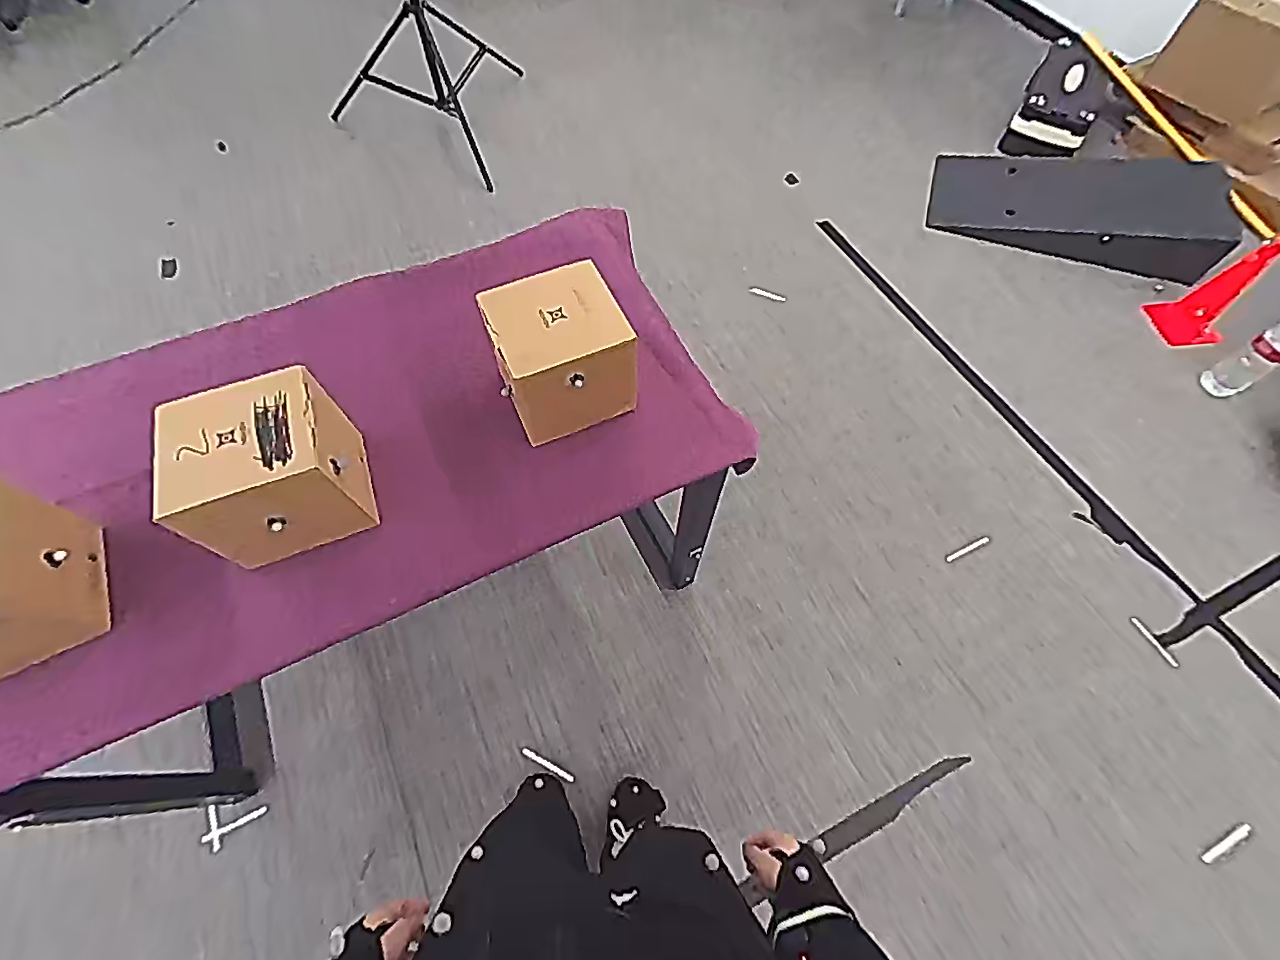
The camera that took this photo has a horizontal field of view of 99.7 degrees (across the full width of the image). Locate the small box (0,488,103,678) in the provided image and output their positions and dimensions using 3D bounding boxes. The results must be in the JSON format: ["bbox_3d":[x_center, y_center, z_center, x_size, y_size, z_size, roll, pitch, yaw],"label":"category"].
[{"bbox_3d":[-0.780,0.126,0.628,0.179,0.176,0.168,-26,64,-13],"label":"small box"}]

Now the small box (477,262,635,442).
[{"bbox_3d":[-0.116,-0.183,0.802,0.179,0.176,0.168,-22,65,-13],"label":"small box"}]
